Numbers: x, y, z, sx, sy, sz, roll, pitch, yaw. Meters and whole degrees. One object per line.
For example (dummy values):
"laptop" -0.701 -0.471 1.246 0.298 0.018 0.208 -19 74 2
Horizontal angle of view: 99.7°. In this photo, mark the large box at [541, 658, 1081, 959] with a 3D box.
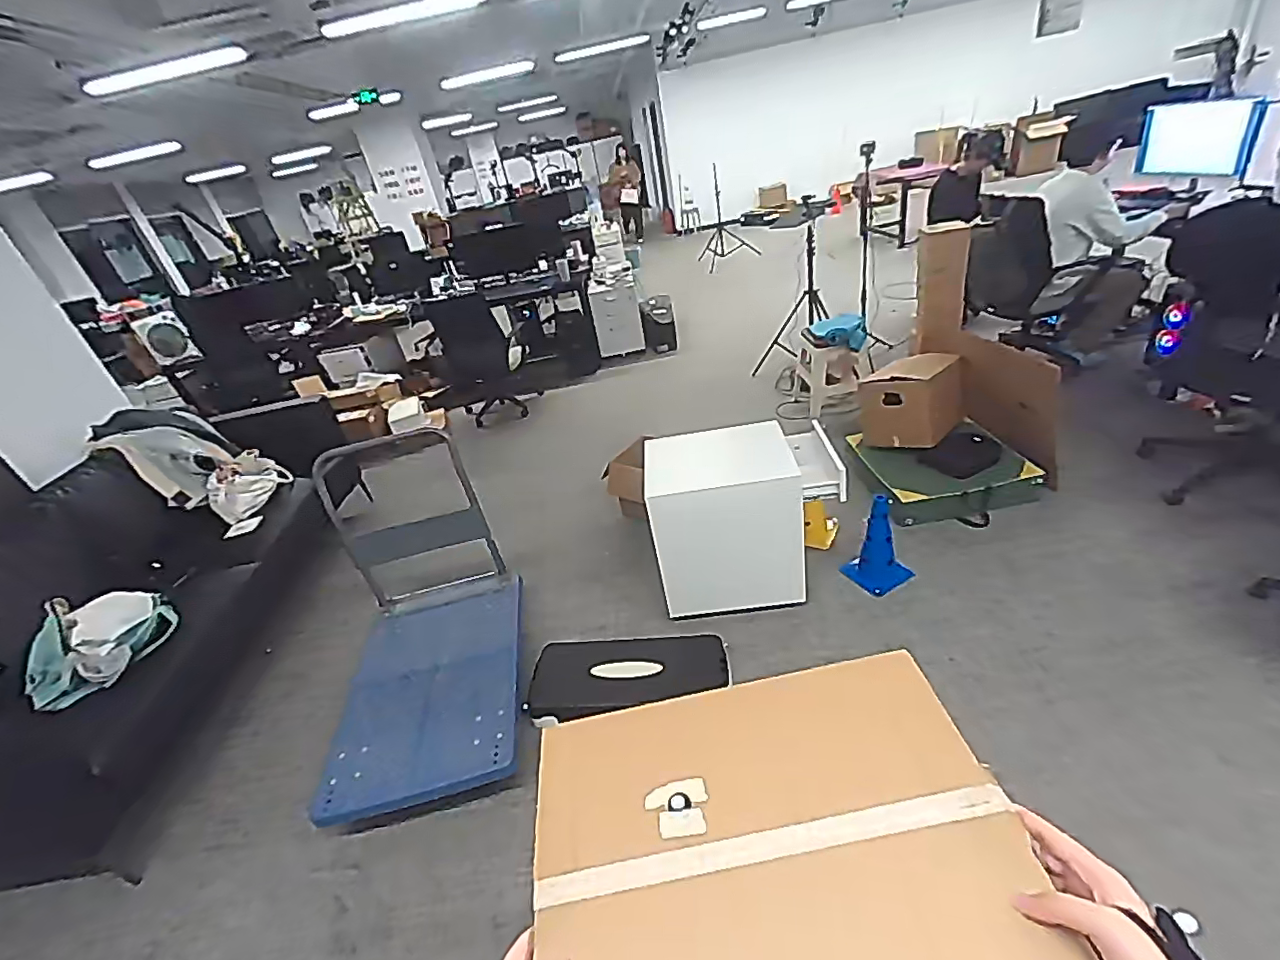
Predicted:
"large box" 0.142 0.443 0.554 0.408 0.320 0.320 -15 35 3
